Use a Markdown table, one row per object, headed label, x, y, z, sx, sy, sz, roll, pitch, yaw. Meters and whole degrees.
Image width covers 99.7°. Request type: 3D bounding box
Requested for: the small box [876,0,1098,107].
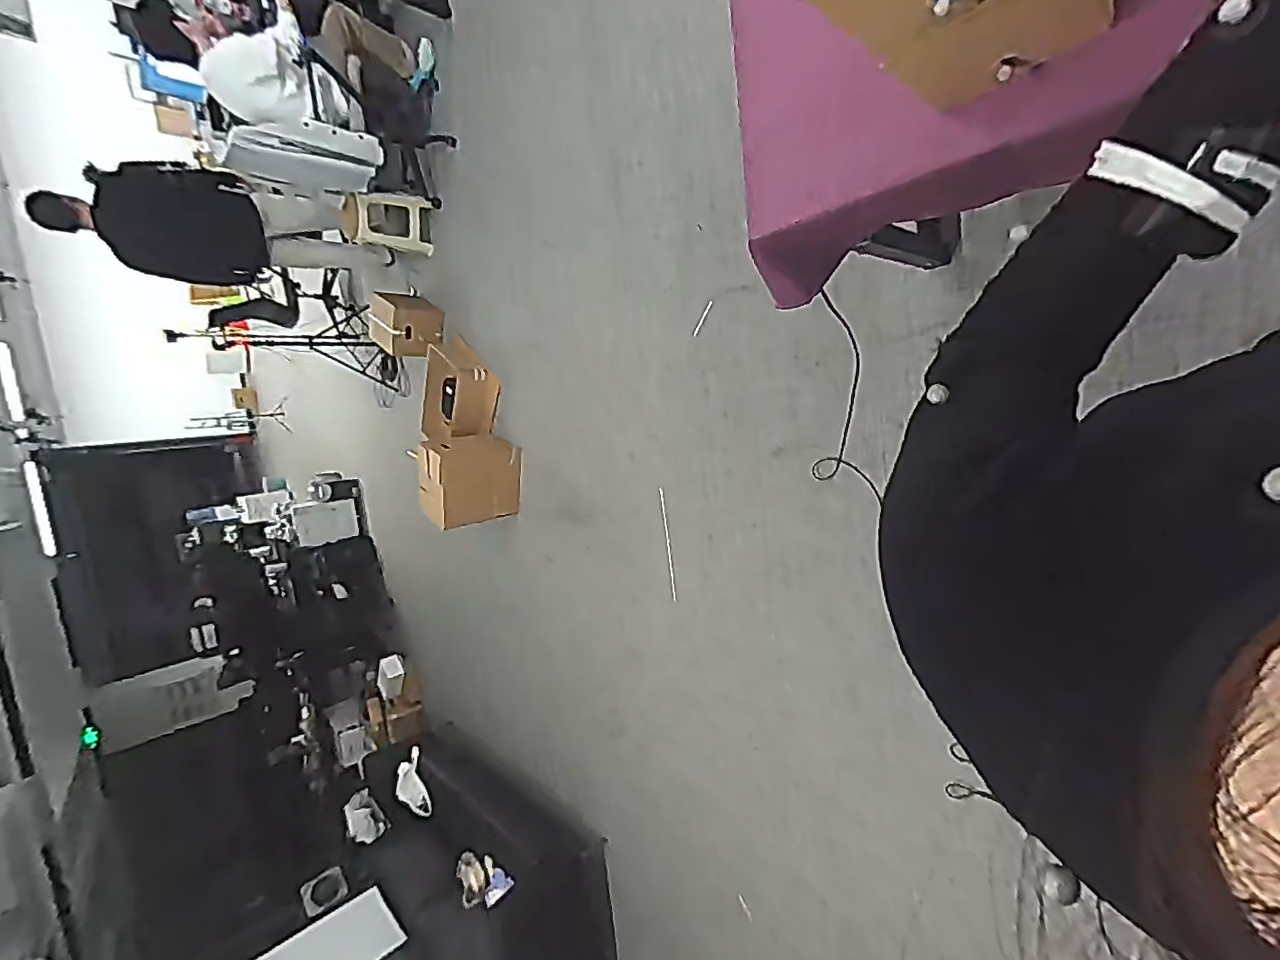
| label | x | y | z | sx | sy | sz | roll | pitch | yaw |
| --- | --- | --- | --- | --- | --- | --- | --- | --- | --- |
| small box | 0.365 | -0.542 | 0.572 | 0.179 | 0.176 | 0.168 | -1 | 98 | 47 |
